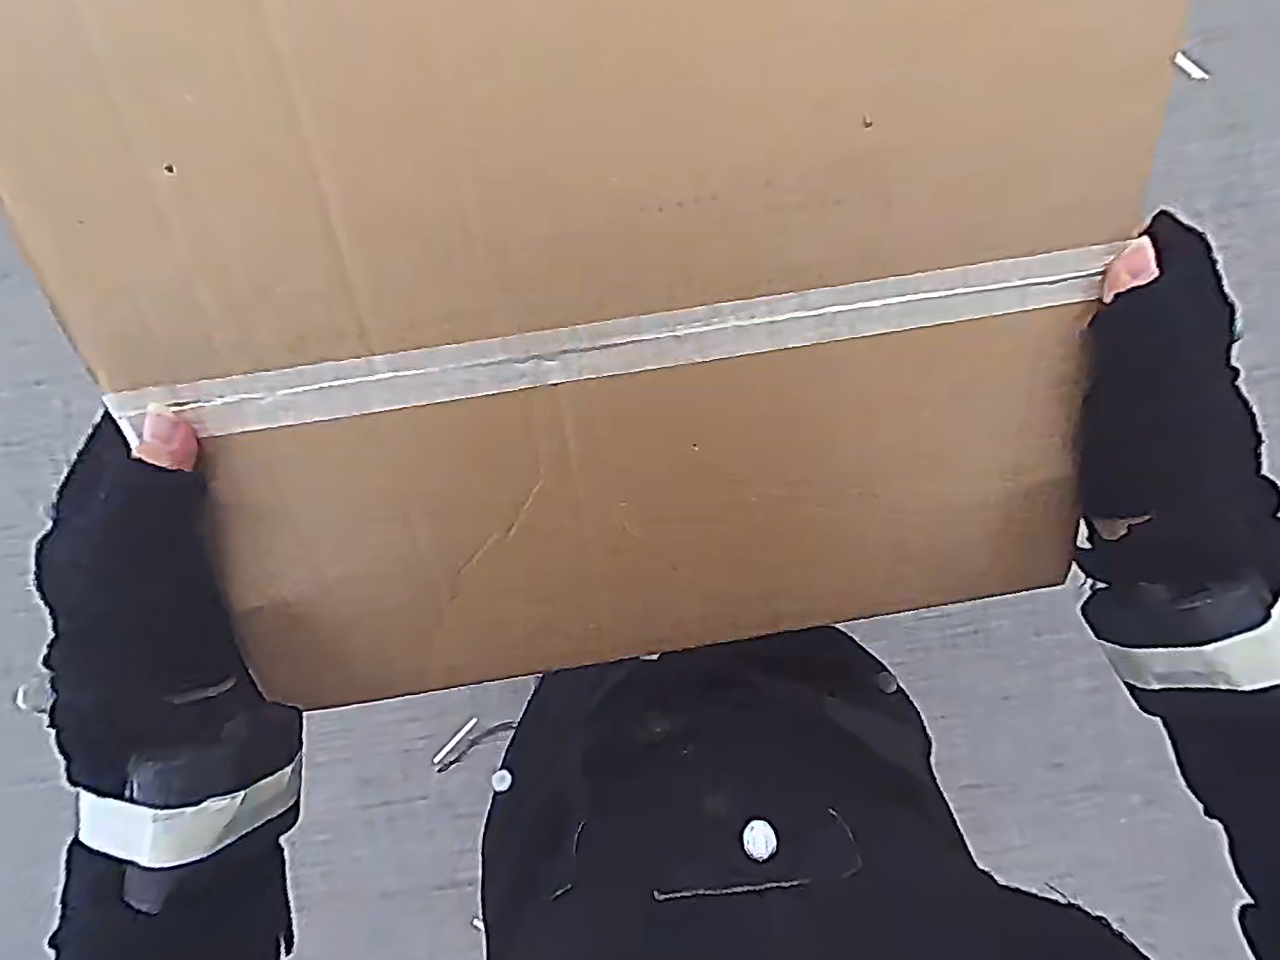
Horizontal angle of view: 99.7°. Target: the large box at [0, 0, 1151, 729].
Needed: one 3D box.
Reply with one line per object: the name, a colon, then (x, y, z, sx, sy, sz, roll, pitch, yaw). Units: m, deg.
large box: (-0.015, -0.099, 0.364, 0.408, 0.320, 0.320, -9, 113, -2)
